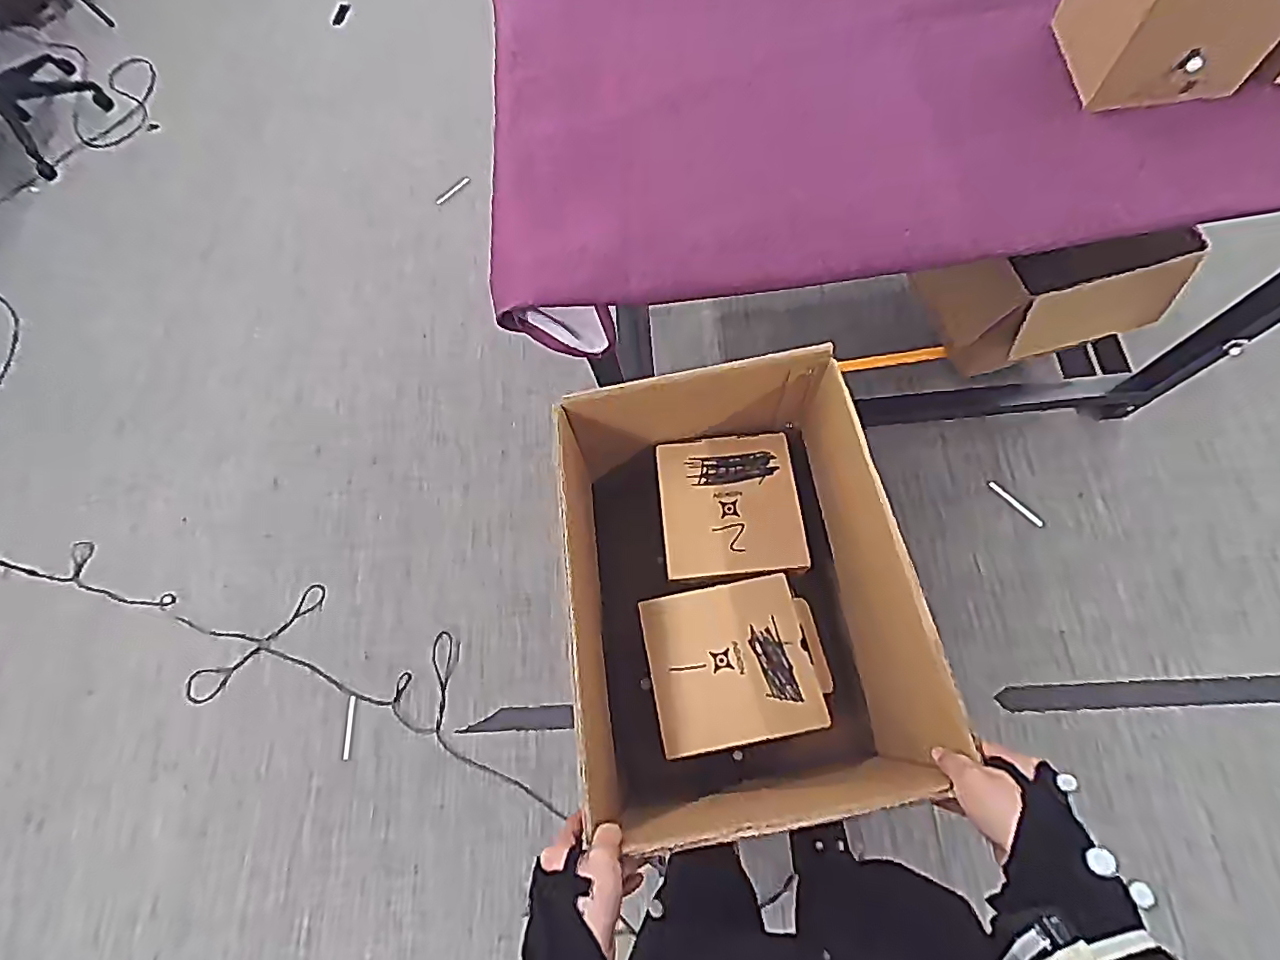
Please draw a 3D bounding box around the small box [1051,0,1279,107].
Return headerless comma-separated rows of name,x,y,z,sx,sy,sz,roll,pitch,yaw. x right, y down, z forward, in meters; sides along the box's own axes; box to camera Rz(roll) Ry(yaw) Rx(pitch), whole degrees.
small box,0.619,-0.575,0.621,0.168,0.176,0.179,-3,70,7
